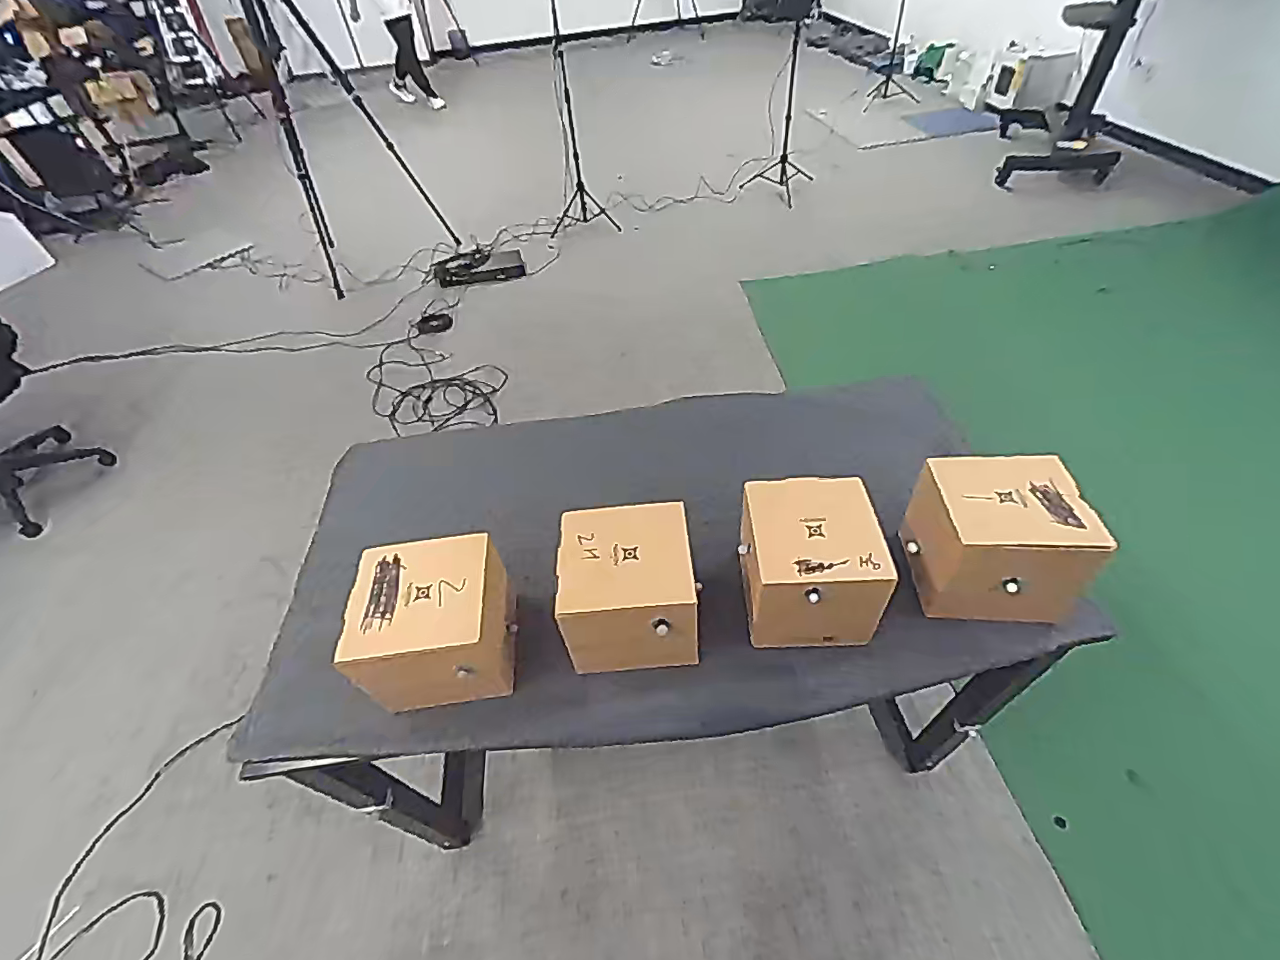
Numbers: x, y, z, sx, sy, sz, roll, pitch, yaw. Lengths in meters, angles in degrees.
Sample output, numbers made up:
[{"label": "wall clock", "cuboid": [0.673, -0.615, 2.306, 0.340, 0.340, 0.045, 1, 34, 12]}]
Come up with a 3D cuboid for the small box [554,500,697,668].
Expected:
[{"label": "small box", "cuboid": [-0.013, 0.150, 0.762, 0.179, 0.176, 0.168, -6, 46, 3]}]

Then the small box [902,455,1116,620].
[{"label": "small box", "cuboid": [0.495, 0.082, 0.760, 0.179, 0.176, 0.168, 0, 44, 9]}]

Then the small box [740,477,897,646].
[{"label": "small box", "cuboid": [0.235, 0.115, 0.766, 0.168, 0.176, 0.179, -2, 46, 4]}]
